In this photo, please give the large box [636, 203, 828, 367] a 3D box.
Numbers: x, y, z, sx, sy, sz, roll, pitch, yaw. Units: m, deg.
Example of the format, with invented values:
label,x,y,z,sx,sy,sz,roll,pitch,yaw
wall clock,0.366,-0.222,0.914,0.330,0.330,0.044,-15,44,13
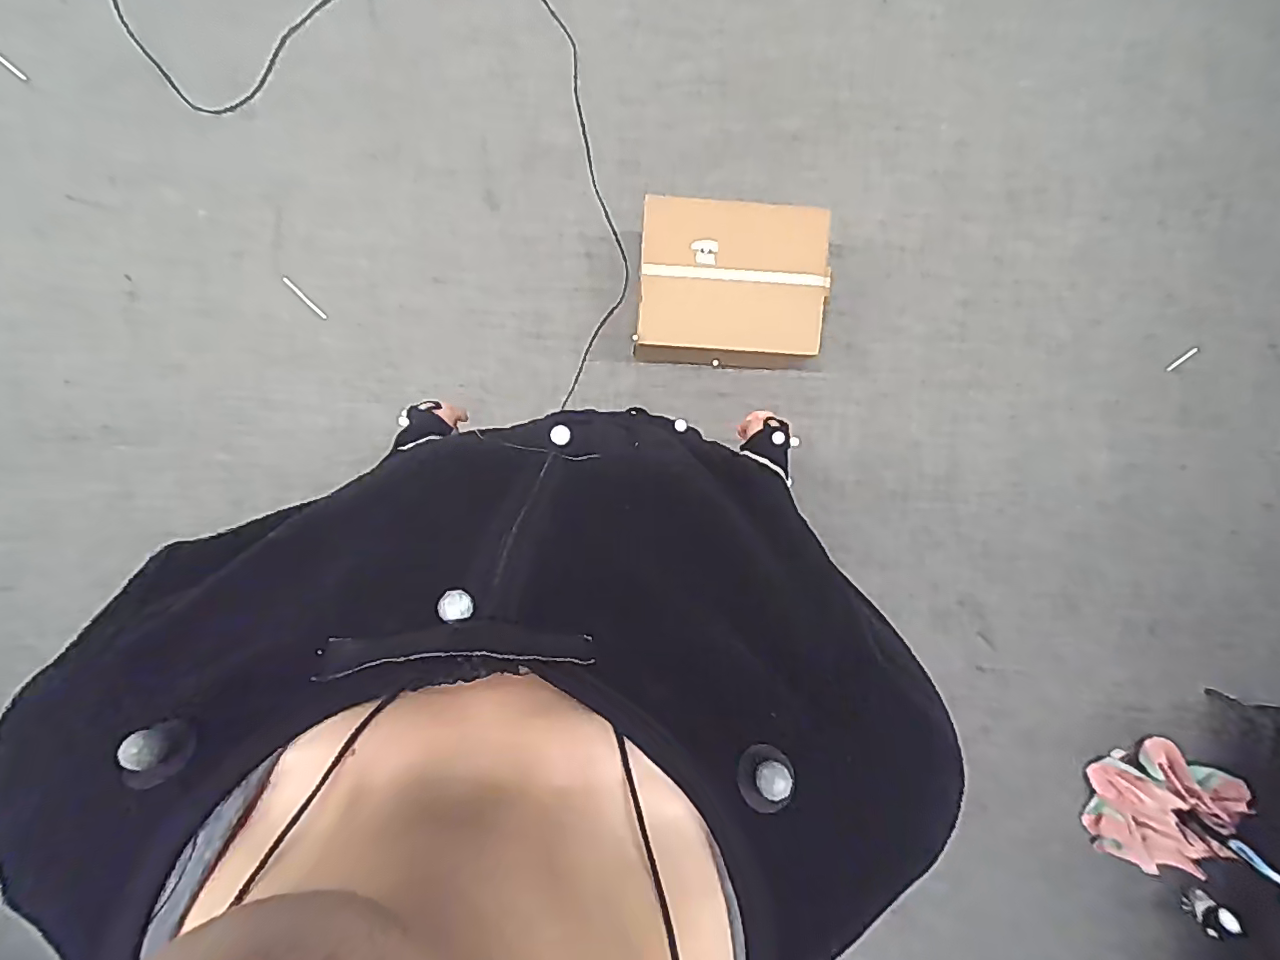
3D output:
label,x,y,z,sx,sy,sz,roll,pitch,yaw
large box,0.201,-0.450,1.322,0.408,0.320,0.320,3,95,-1
